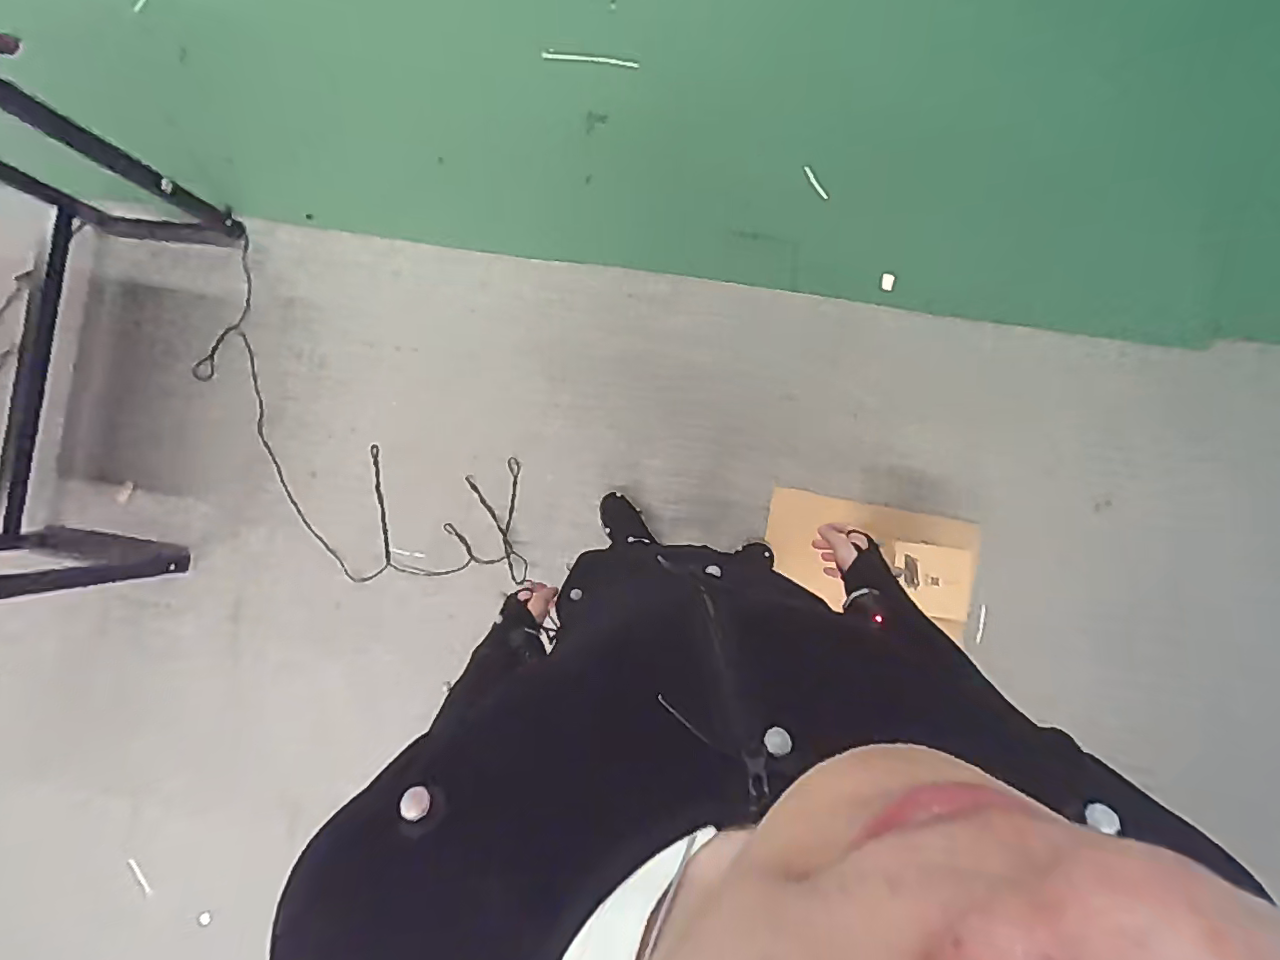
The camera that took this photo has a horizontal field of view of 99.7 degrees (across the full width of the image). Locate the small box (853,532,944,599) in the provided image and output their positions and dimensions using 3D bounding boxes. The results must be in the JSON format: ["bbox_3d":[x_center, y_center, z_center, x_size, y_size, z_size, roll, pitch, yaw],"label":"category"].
[{"bbox_3d":[0.704,0.236,1.486,0.179,0.176,0.168,4,89,6],"label":"small box"}]

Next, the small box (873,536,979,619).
[{"bbox_3d":[0.689,0.232,1.323,0.179,0.176,0.168,7,89,5],"label":"small box"}]
